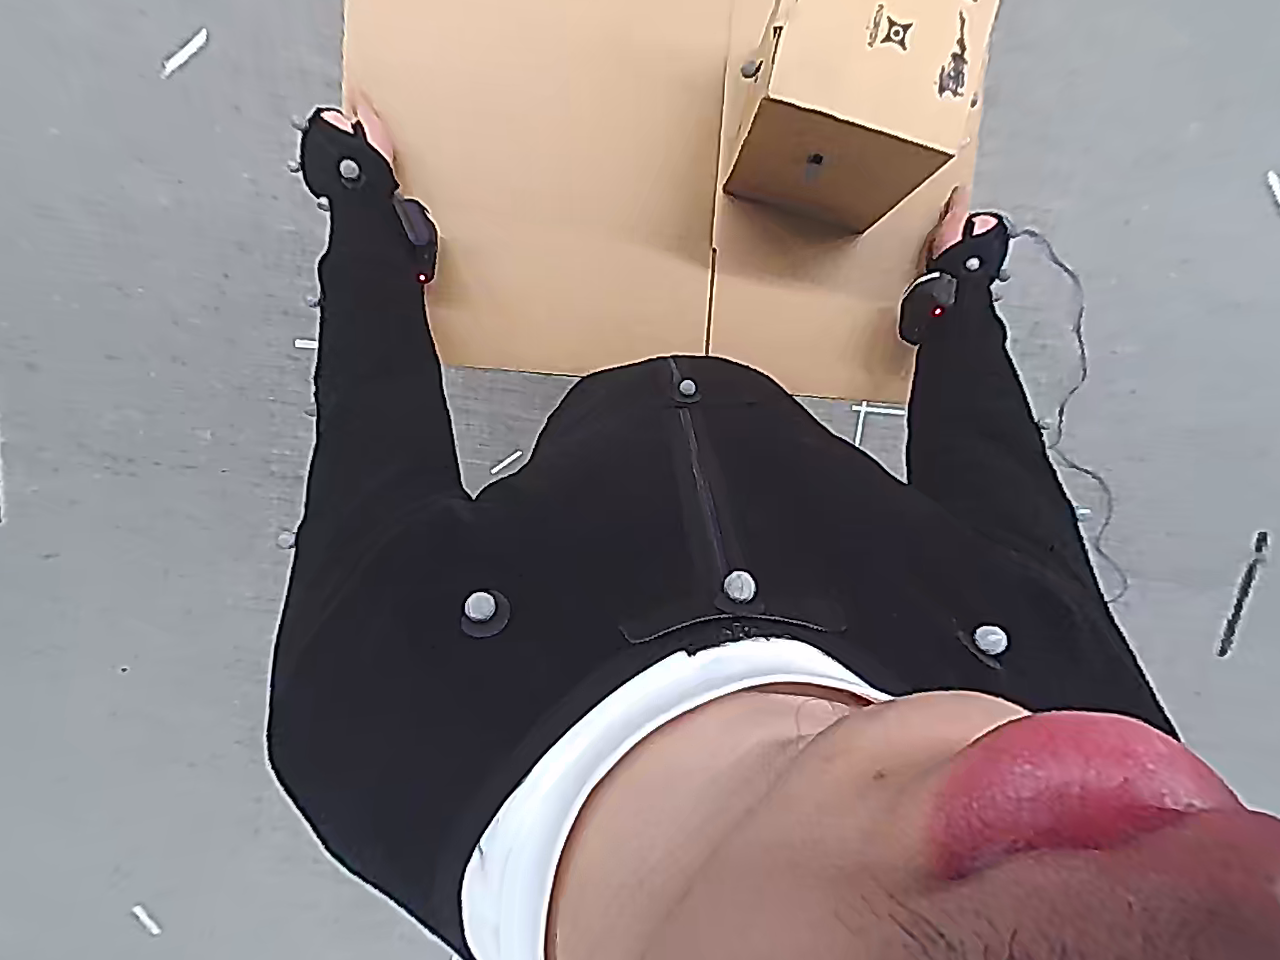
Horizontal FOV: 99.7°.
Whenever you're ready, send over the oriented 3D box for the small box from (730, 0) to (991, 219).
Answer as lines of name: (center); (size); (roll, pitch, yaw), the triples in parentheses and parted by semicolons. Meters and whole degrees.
small box: (0.201, -0.389, 0.538); (0.179, 0.176, 0.168); (14, 93, -3)
